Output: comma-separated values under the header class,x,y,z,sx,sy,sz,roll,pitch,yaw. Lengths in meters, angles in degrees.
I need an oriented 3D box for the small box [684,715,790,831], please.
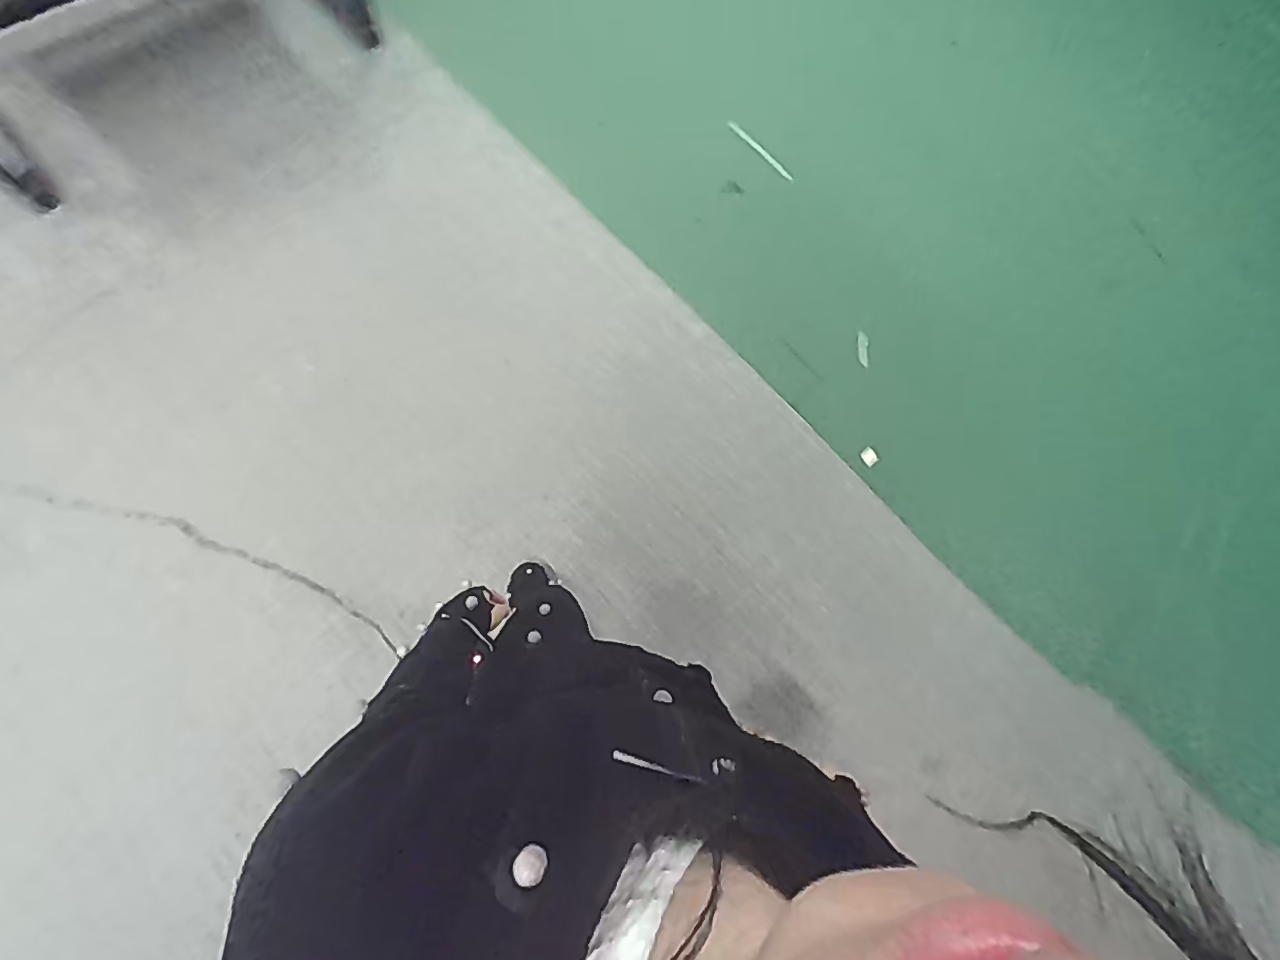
class,x,y,z,sx,sy,sz,roll,pitch,yaw
small box,0.237,0.723,1.360,0.168,0.176,0.179,-41,84,-15
